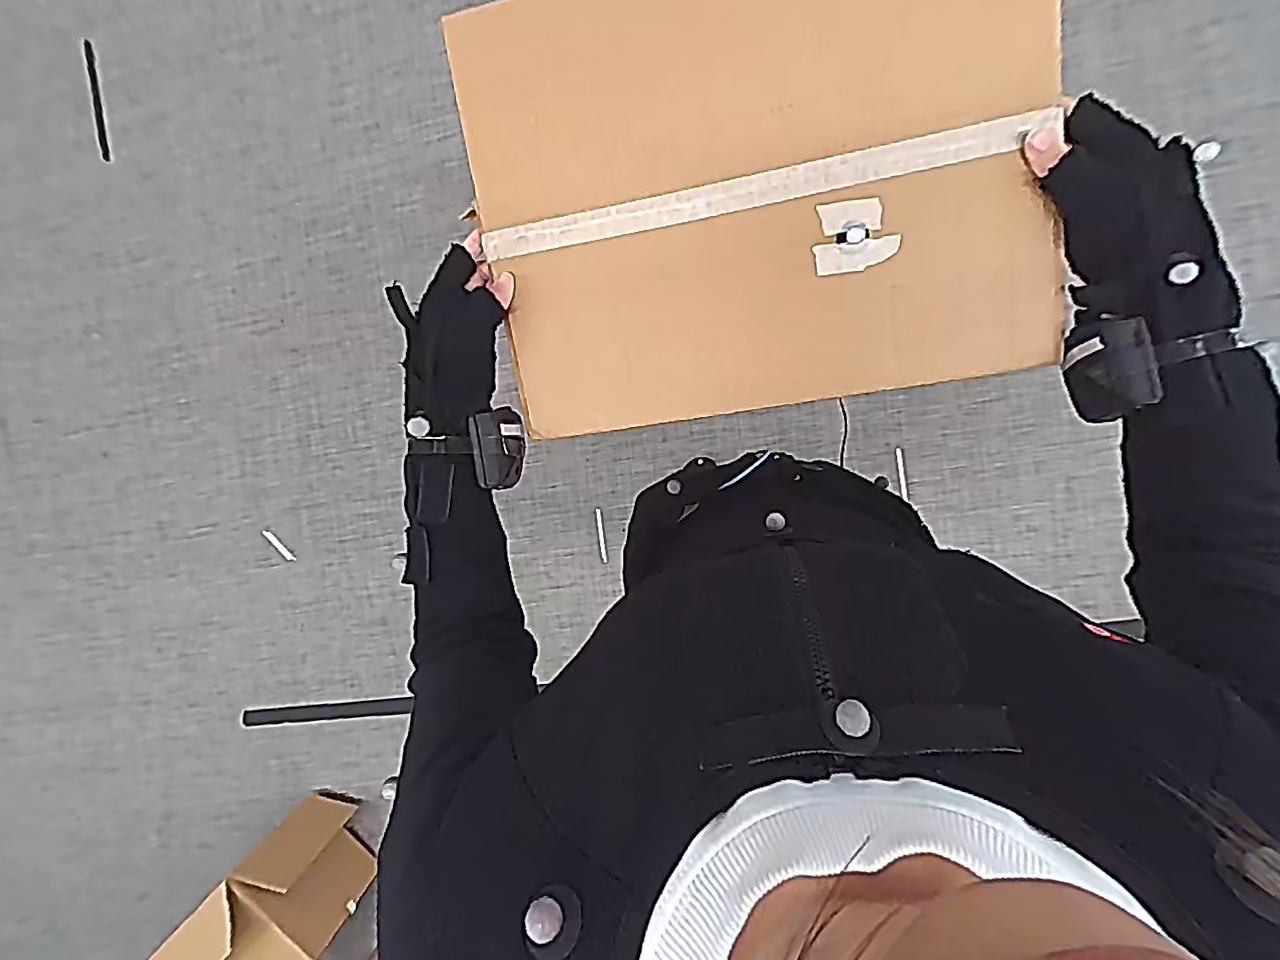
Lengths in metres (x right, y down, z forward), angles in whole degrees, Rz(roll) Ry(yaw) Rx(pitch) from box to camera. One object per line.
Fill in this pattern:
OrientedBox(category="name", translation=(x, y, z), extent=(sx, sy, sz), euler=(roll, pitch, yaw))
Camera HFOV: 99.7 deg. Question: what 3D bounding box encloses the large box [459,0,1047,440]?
OrientedBox(category="large box", translation=(0.098, -0.243, 0.547), extent=(0.408, 0.320, 0.320), euler=(-8, 102, 9))
